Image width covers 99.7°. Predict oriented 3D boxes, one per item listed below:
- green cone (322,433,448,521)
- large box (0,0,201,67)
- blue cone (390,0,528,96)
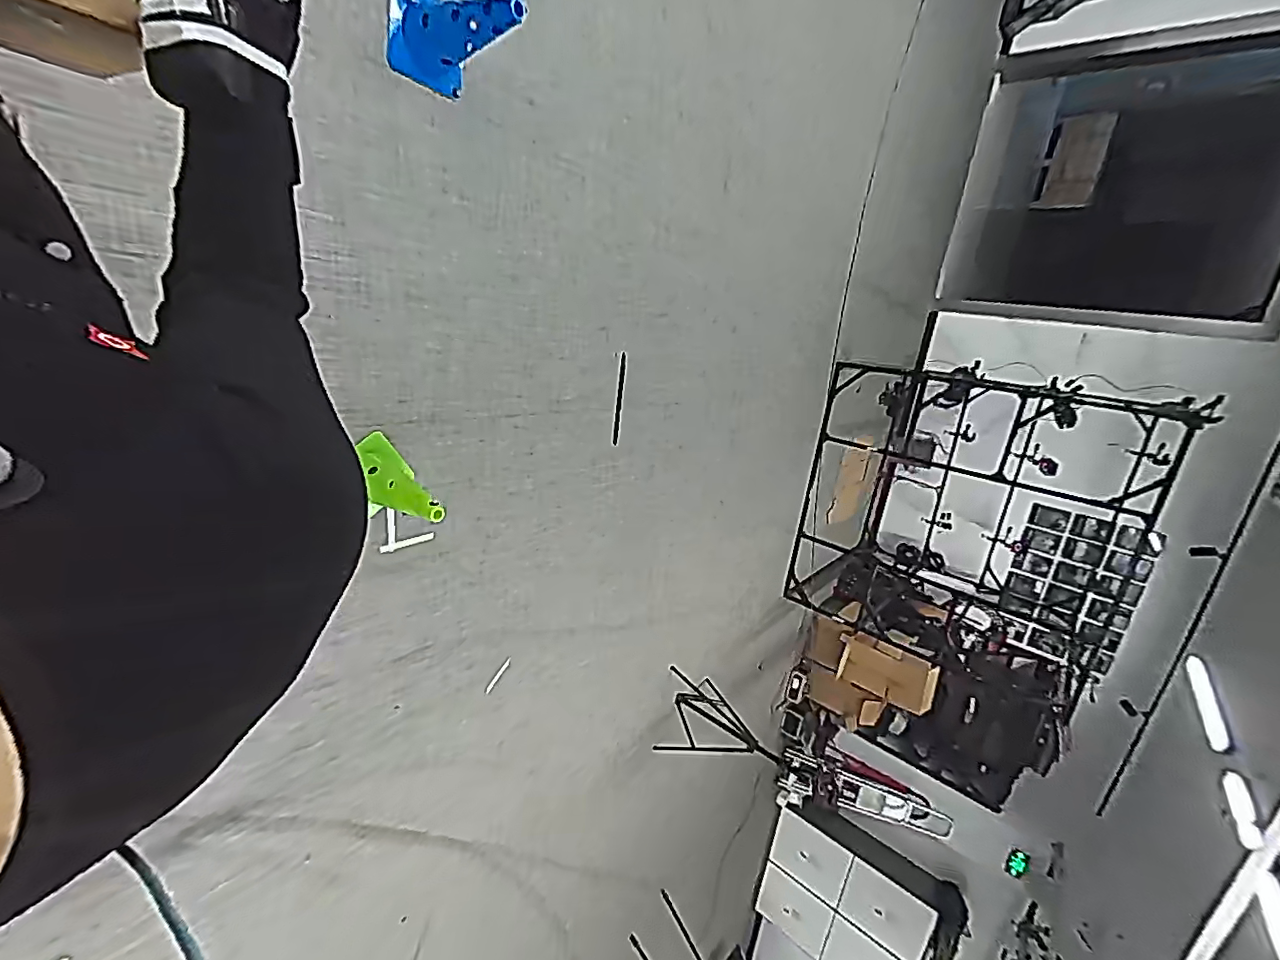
[{"bbox_3d":[-0.639,0.039,1.446,0.202,0.368,0.200,-51,141,-27],"label":"green cone"},{"bbox_3d":[-0.519,-0.471,0.260,0.408,0.320,0.320,-13,121,-52],"label":"large box"},{"bbox_3d":[-0.405,-1.052,1.257,0.192,0.380,0.193,-8,113,-52],"label":"blue cone"}]
